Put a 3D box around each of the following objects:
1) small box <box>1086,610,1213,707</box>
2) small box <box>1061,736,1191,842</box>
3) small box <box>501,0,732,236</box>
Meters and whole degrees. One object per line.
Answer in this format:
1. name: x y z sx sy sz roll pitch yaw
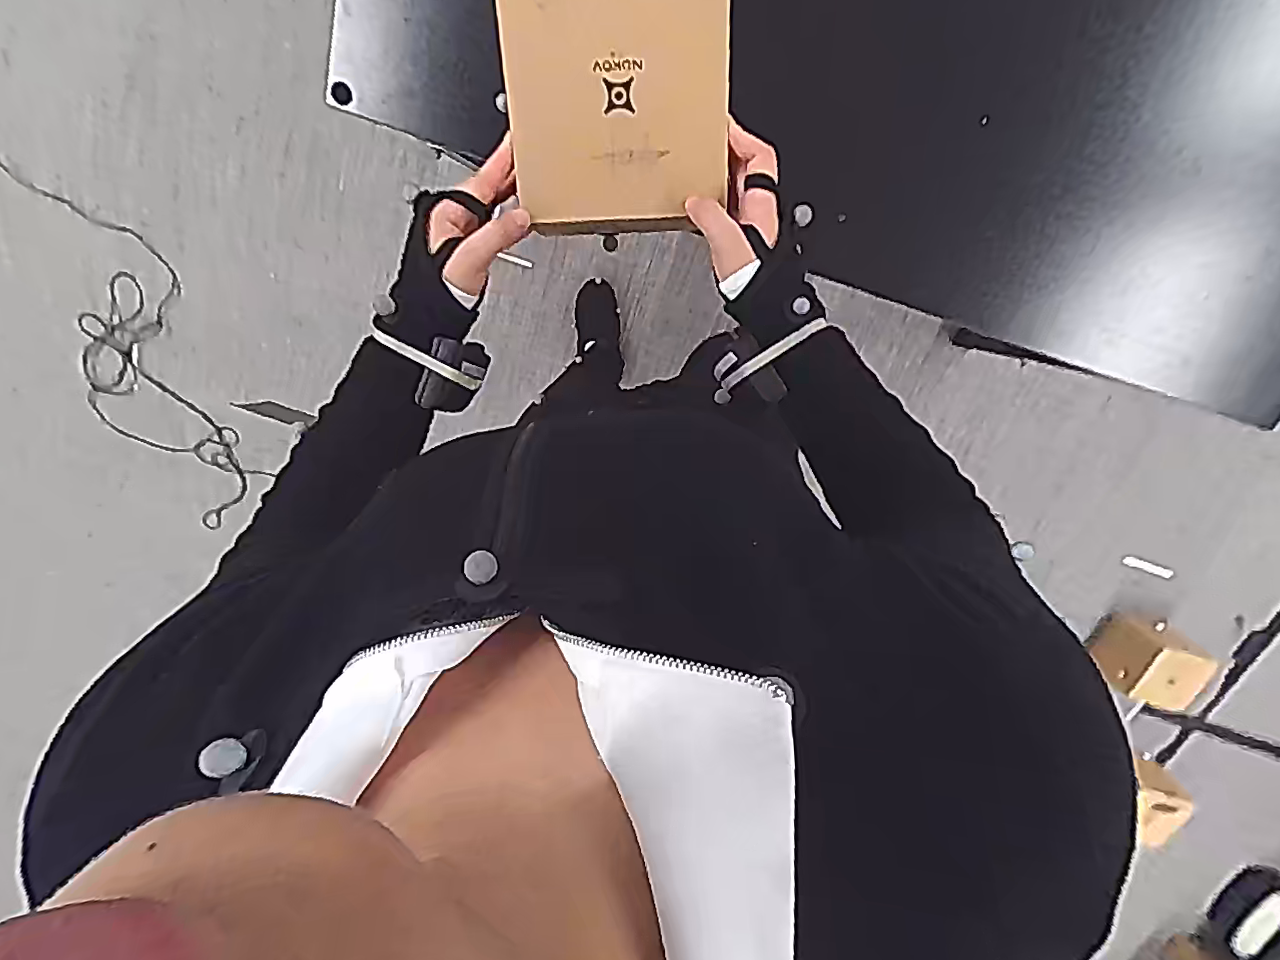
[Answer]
1. small box: 1.438 0.506 1.545 0.168 0.176 0.179 15 110 -3
2. small box: 1.336 0.852 1.504 0.168 0.176 0.179 18 111 -4
3. small box: -0.019 -0.316 0.471 0.168 0.176 0.179 -3 112 -1
